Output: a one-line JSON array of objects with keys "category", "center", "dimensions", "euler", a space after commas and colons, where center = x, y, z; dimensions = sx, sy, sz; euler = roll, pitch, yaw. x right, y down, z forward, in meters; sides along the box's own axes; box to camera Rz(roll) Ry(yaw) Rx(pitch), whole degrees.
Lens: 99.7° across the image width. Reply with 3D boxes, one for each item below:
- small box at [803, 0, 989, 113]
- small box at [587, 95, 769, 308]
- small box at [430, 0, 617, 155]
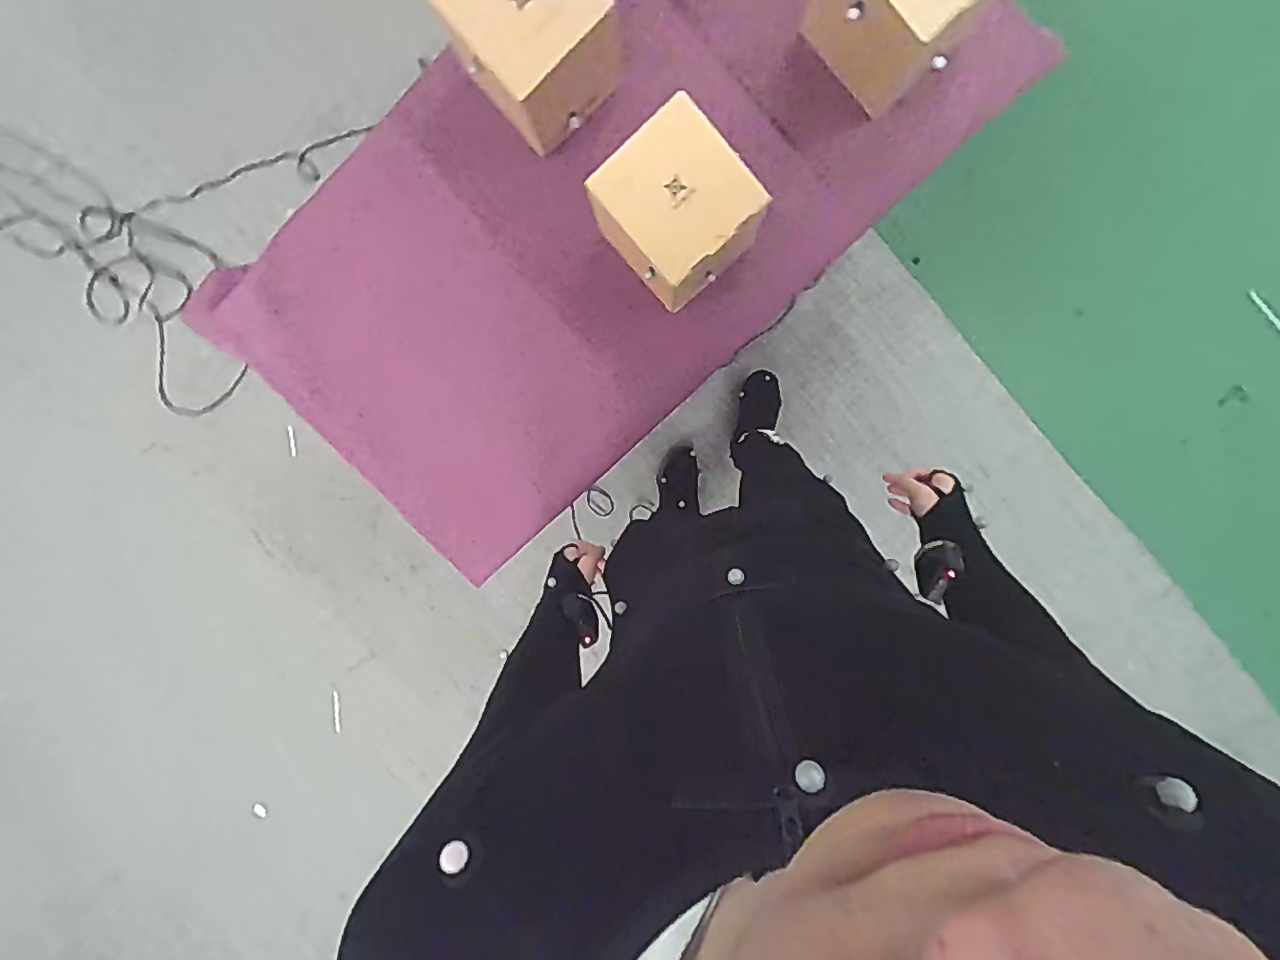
[{"category": "small box", "center": [0.344, -0.645, 0.714], "dimensions": [0.168, 0.176, 0.179], "euler": [-41, 93, 7]}, {"category": "small box", "center": [0.050, -0.372, 0.762], "dimensions": [0.168, 0.176, 0.179], "euler": [-41, 93, 6]}, {"category": "small box", "center": [-0.148, -0.597, 0.741], "dimensions": [0.168, 0.176, 0.179], "euler": [-42, 96, 6]}]
